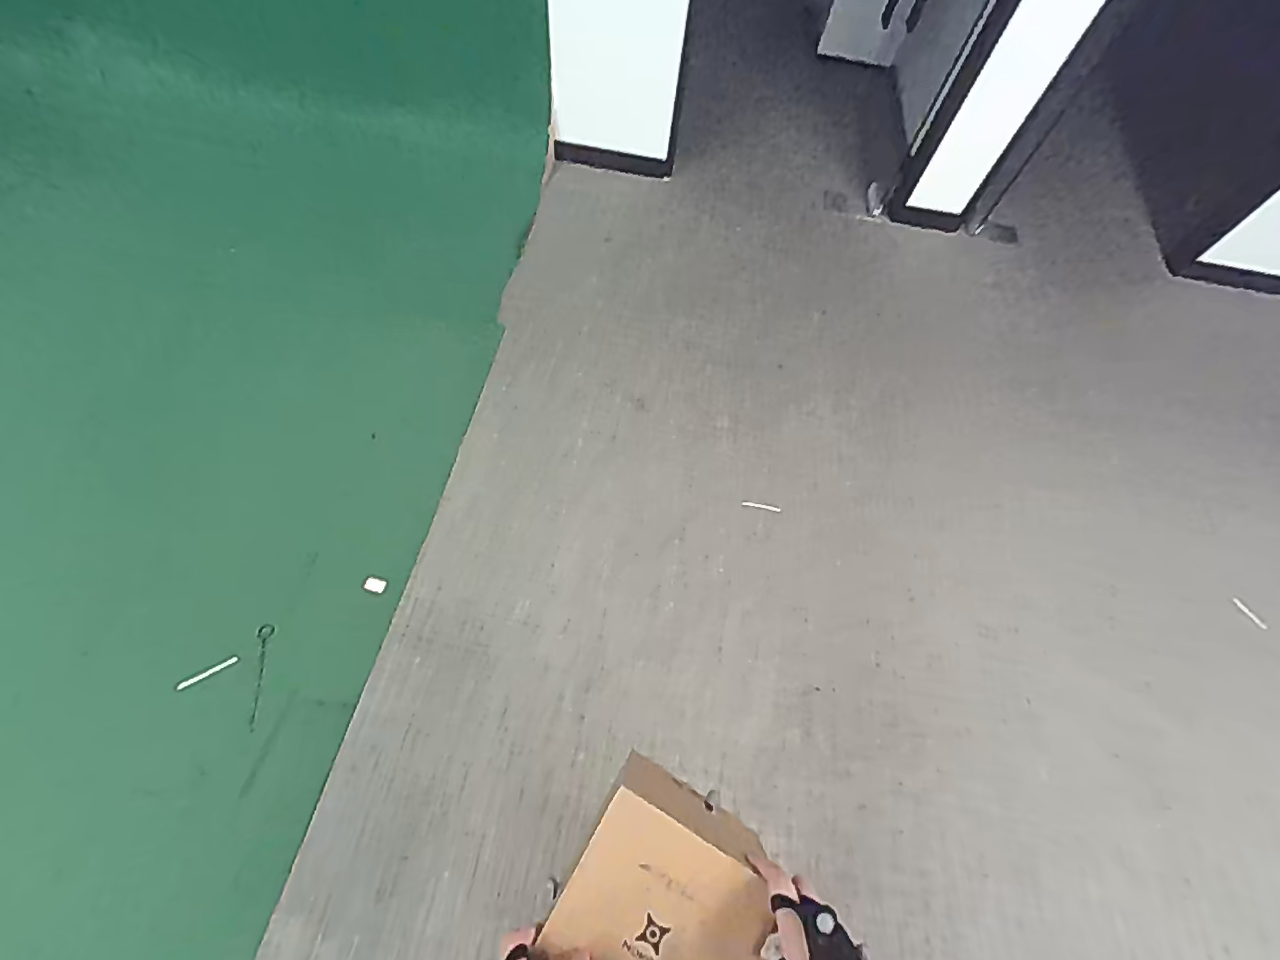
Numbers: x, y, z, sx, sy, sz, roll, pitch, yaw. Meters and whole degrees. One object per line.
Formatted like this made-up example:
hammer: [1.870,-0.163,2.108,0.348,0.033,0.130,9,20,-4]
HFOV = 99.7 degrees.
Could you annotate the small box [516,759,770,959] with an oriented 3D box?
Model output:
small box: [0.006,0.414,0.535,0.168,0.176,0.179,30,77,11]
